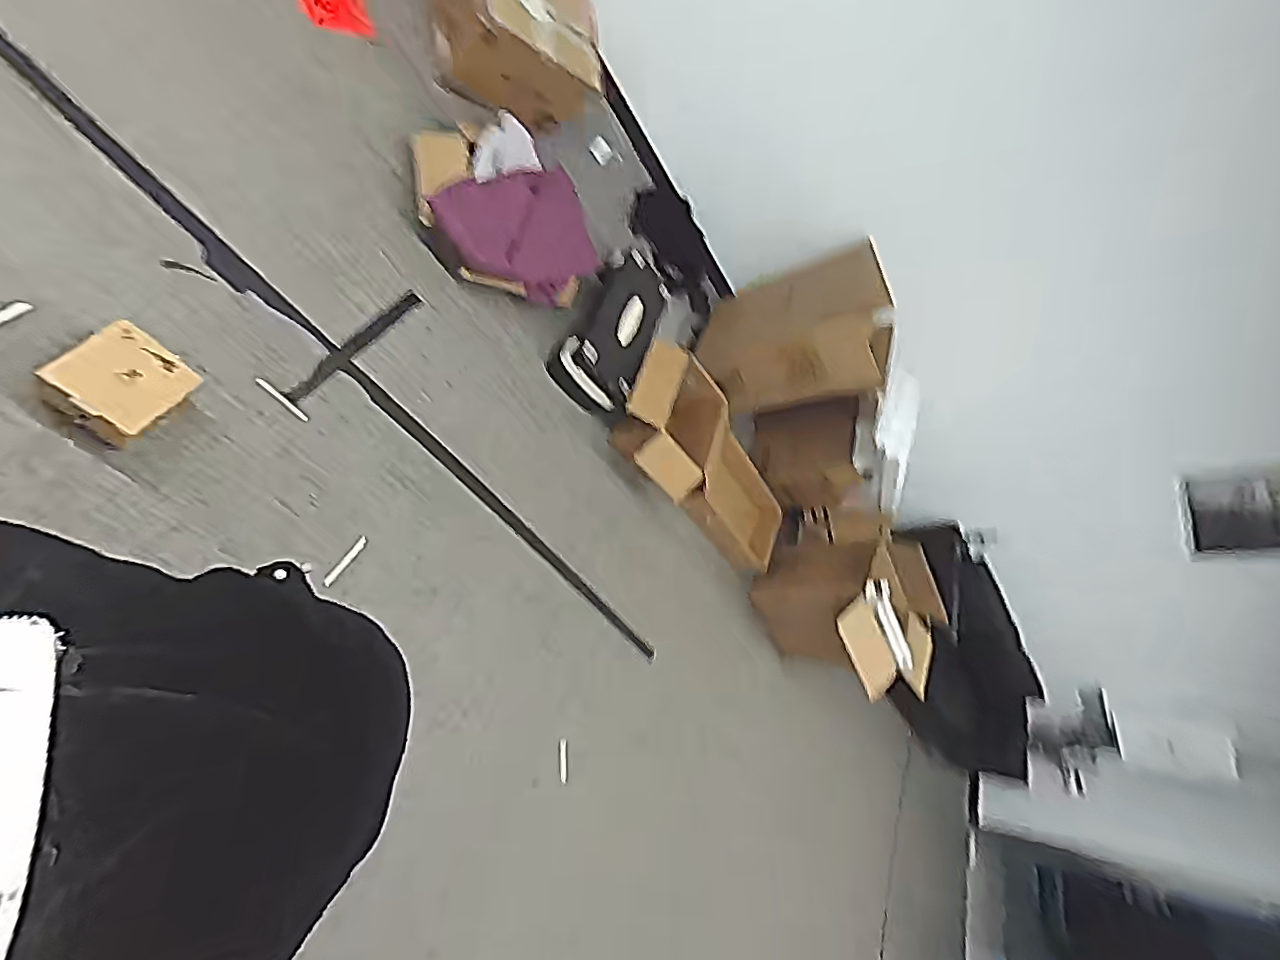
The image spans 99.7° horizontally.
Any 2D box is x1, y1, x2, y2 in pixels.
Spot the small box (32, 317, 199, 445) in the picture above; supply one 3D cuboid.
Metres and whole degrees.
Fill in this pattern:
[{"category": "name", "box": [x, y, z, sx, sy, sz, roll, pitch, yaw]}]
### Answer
[{"category": "small box", "box": [-1.052, -0.191, 1.094, 0.168, 0.176, 0.179, 50, 50, -29]}]
